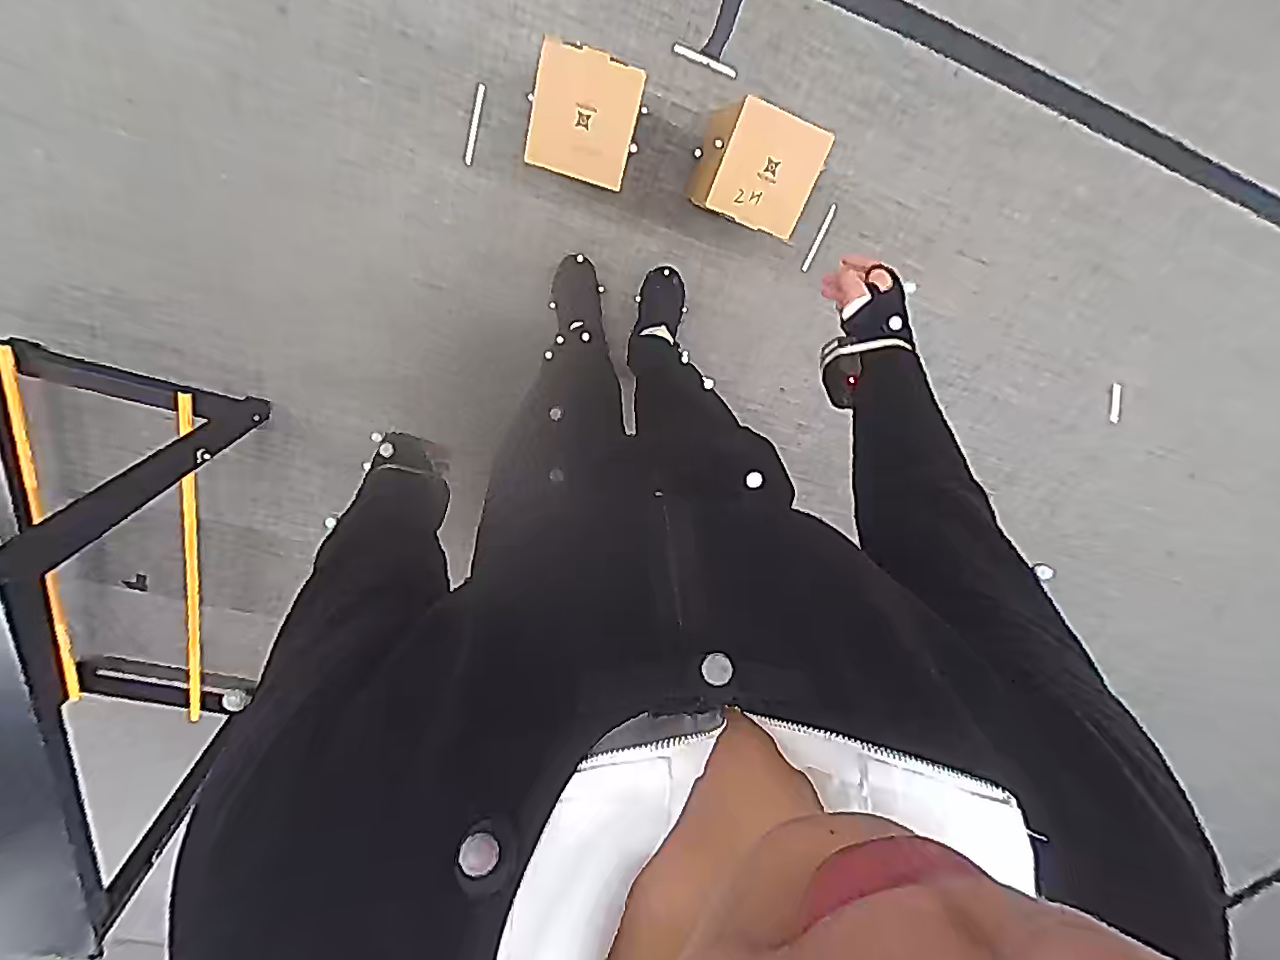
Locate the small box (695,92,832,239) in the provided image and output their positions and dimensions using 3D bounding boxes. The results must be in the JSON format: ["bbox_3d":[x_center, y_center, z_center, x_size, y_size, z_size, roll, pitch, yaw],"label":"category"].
[{"bbox_3d":[0.210,-0.565,0.985,0.168,0.176,0.179,17,117,-12],"label":"small box"}]

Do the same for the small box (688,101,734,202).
[{"bbox_3d":[0.207,-0.652,1.127,0.168,0.176,0.179,16,118,-12],"label":"small box"}]

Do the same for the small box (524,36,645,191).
[{"bbox_3d":[-0.095,-0.622,0.938,0.168,0.176,0.179,13,119,-8],"label":"small box"}]
